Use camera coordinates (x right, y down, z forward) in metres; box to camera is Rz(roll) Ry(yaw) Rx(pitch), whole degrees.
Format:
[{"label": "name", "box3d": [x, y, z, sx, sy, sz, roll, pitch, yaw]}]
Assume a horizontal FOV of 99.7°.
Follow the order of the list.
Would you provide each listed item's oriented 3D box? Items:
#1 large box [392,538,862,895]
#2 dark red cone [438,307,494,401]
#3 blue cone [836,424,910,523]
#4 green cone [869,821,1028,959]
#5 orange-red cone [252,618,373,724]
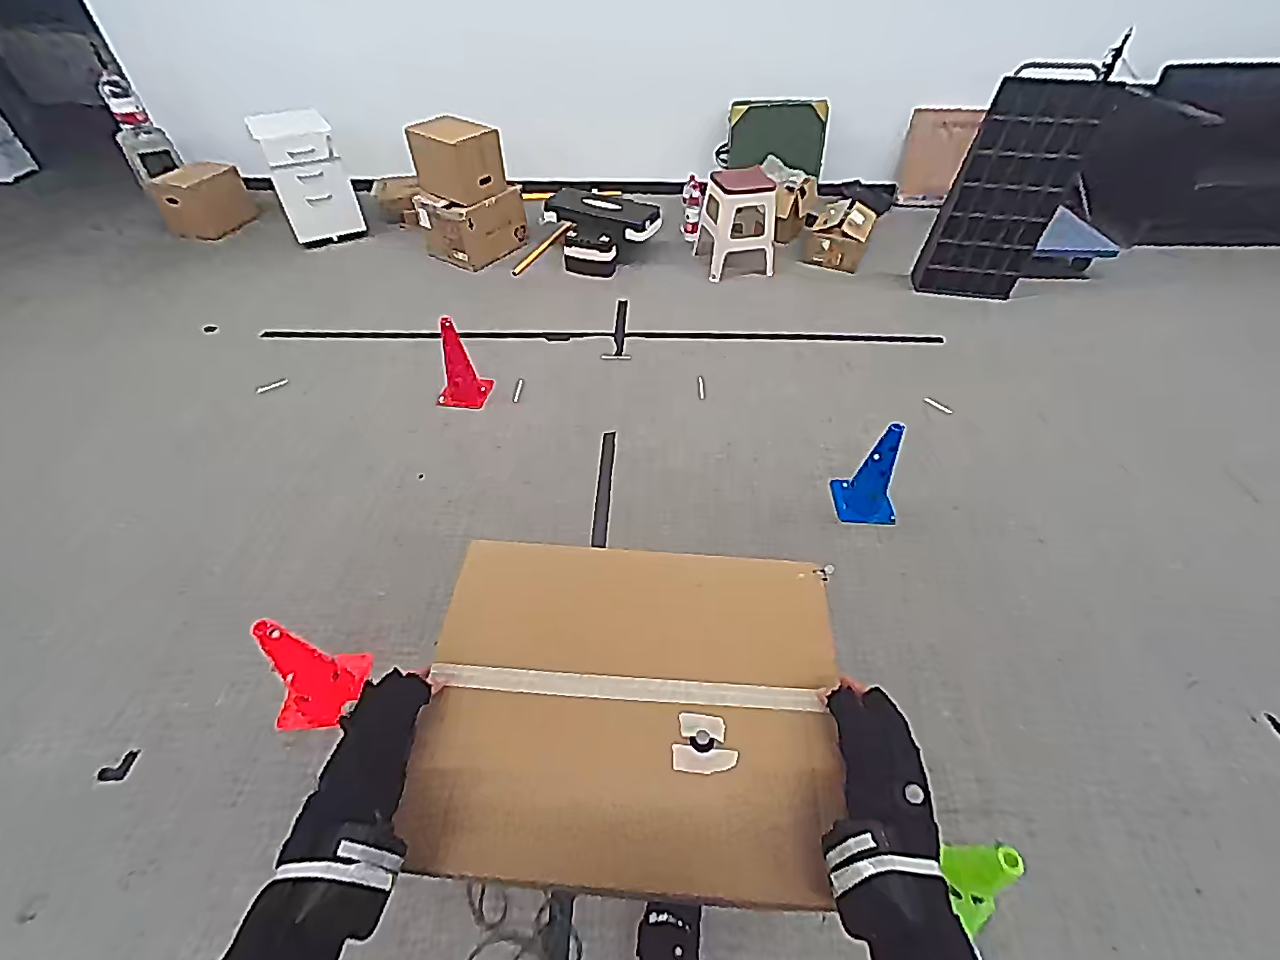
[{"label": "large box", "box3d": [-0.008, 0.292, 0.655, 0.408, 0.320, 0.320, 4, 52, 2]}, {"label": "dark red cone", "box3d": [-0.742, -0.517, 2.206, 0.201, 0.394, 0.202, 6, 47, 4]}, {"label": "blue cone", "box3d": [0.811, -0.036, 1.820, 0.192, 0.380, 0.193, 4, 47, 2]}, {"label": "green cone", "box3d": [0.630, 0.765, 1.041, 0.202, 0.368, 0.200, -27, 53, -25]}, {"label": "orange-red cone", "box3d": [-0.844, 0.443, 1.335, 0.198, 0.360, 0.199, -1, 48, 0]}]
